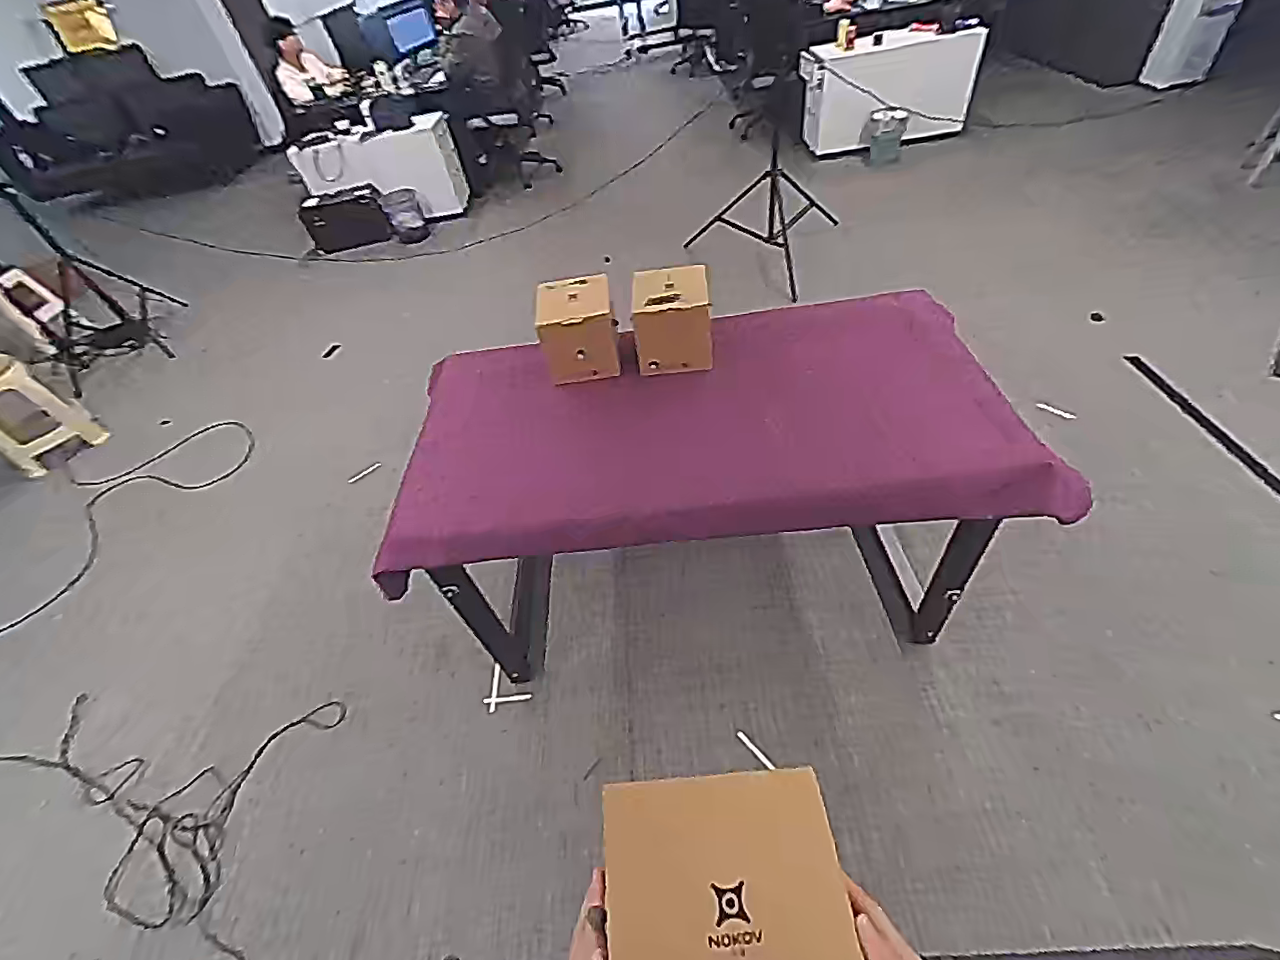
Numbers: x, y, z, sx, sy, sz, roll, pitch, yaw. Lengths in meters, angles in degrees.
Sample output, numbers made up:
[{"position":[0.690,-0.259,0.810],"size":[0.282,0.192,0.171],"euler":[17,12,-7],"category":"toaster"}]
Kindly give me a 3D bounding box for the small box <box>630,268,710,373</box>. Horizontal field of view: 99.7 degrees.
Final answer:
[{"position":[0.073,-0.359,1.245],"size":[0.168,0.176,0.179],"euler":[-4,48,7],"category":"small box"}]

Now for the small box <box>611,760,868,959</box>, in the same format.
[{"position":[0.061,0.341,0.421],"size":[0.168,0.176,0.179],"euler":[-2,48,-3],"category":"small box"}]
